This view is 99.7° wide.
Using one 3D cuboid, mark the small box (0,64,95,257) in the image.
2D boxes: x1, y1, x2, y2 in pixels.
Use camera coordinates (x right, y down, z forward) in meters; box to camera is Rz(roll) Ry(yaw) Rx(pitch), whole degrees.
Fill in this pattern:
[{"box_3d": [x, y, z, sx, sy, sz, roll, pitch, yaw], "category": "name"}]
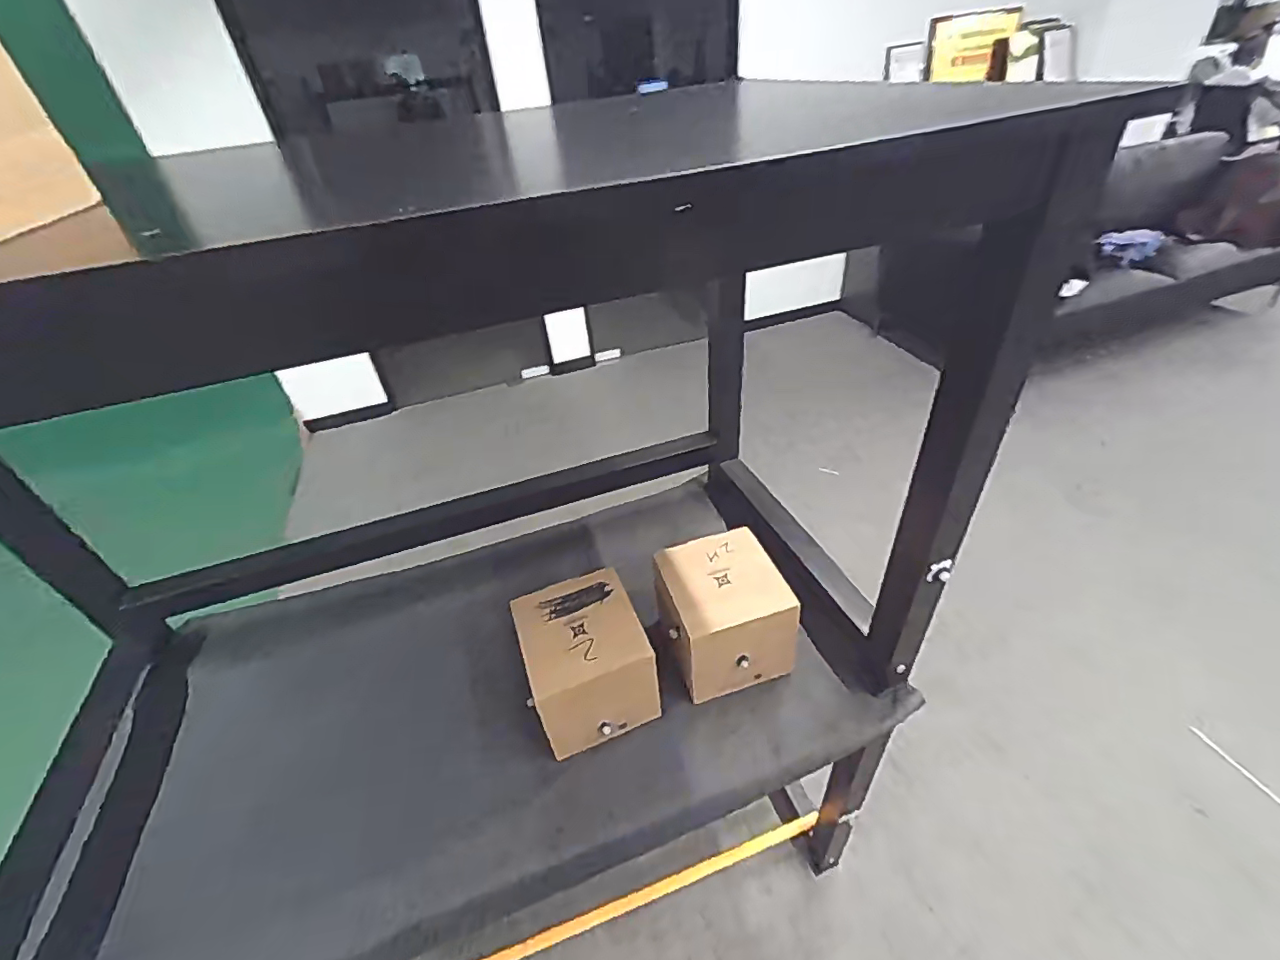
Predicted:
[{"box_3d": [-0.435, -0.183, 0.257, 0.168, 0.176, 0.179, -15, 38, -11], "category": "small box"}]
